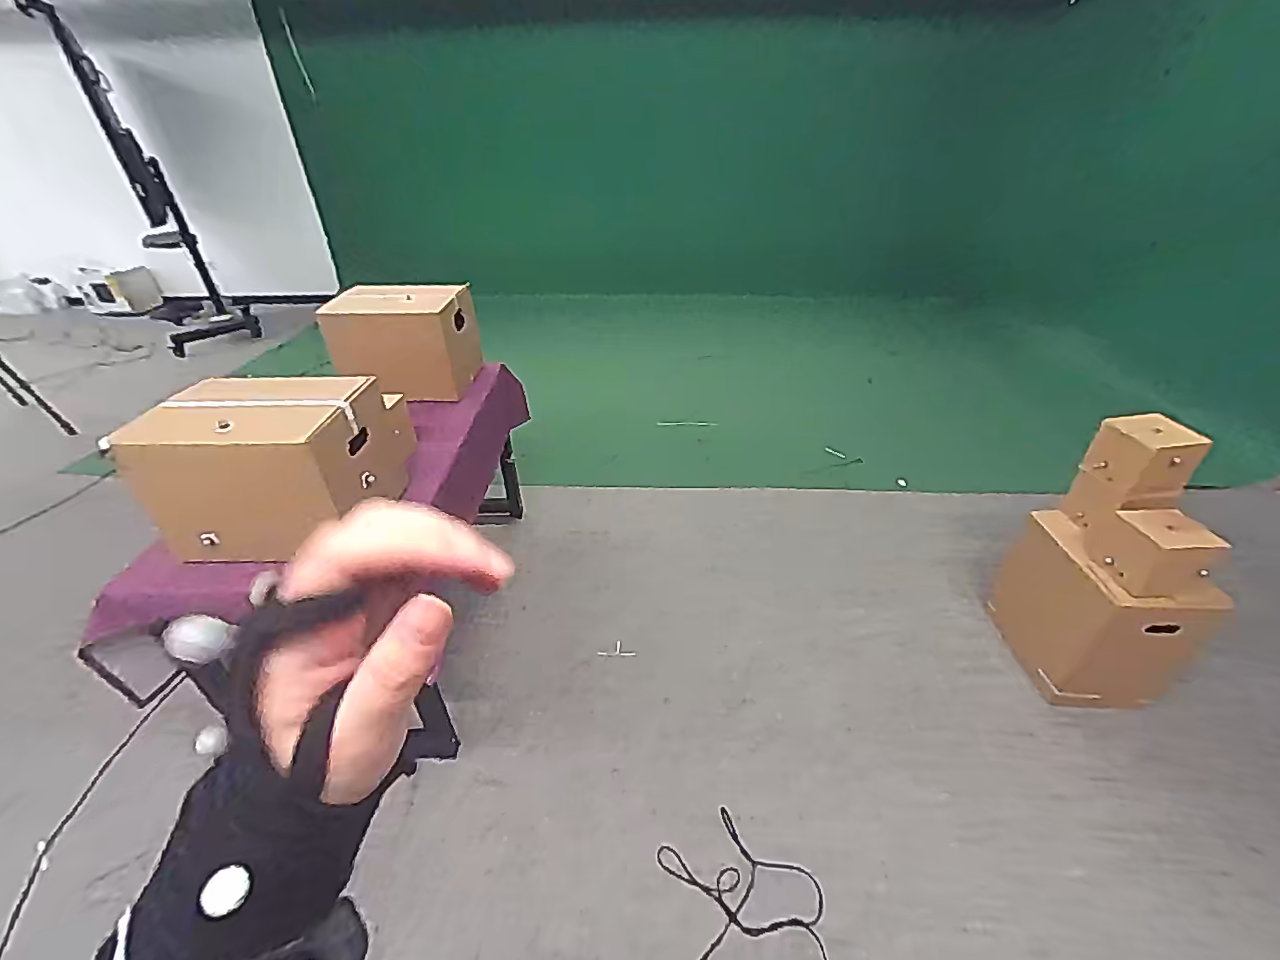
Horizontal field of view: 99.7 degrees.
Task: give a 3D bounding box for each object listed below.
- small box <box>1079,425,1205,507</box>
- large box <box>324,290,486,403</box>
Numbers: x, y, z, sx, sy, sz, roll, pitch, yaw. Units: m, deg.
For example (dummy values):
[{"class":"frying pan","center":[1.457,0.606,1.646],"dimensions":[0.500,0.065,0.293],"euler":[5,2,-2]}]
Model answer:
[{"class":"small box","center":[1.430,-0.040,1.556],"dimensions":[0.179,0.176,0.168],"euler":[-6,35,-5]},{"class":"large box","center":[-0.801,-0.475,1.907],"dimensions":[0.408,0.320,0.320],"euler":[2,34,2]}]
